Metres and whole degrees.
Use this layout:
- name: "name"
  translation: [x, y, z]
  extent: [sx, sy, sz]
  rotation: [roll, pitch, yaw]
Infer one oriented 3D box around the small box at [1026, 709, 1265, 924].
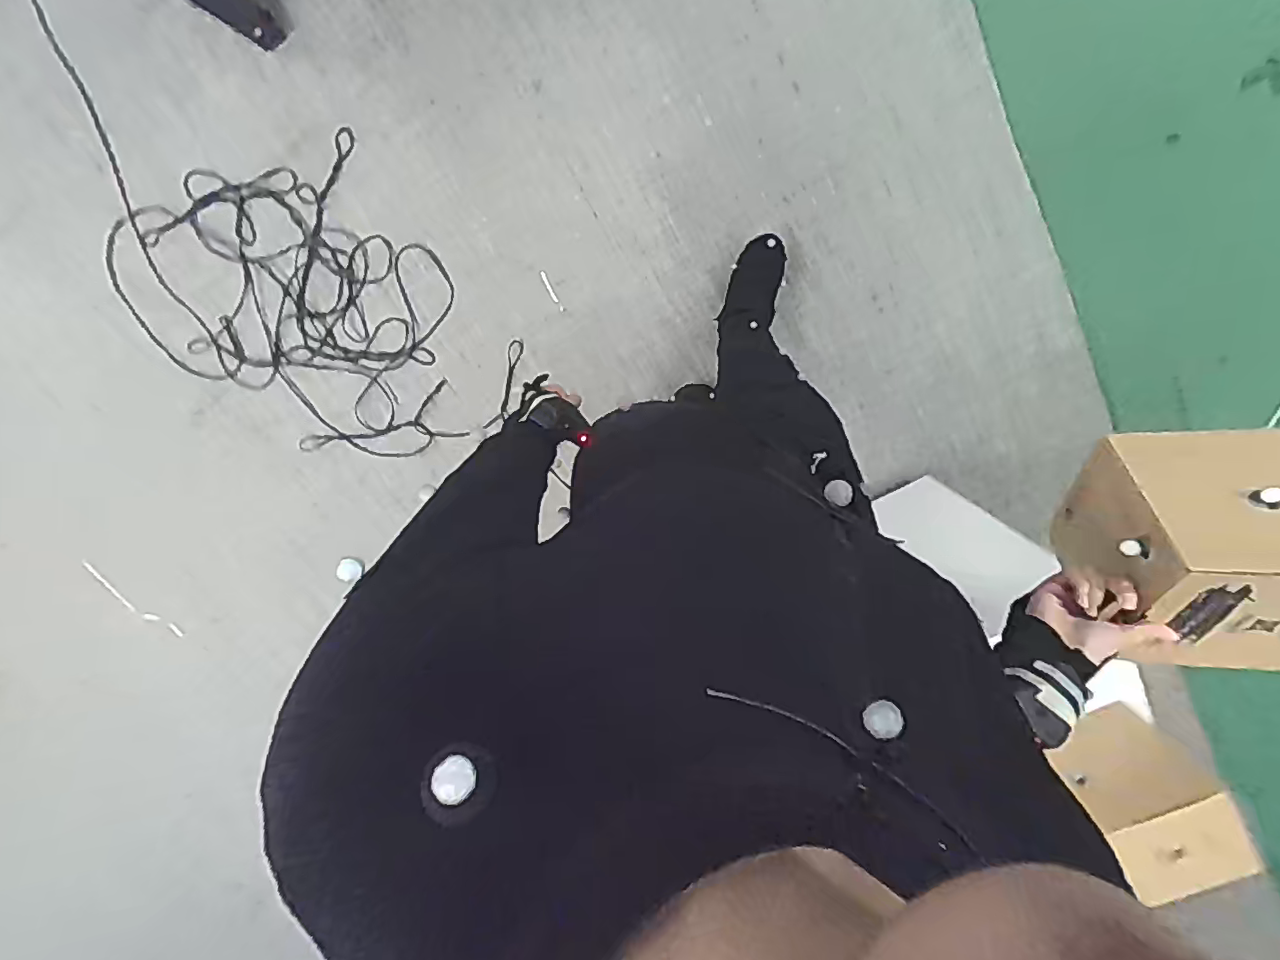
- name: "small box"
  translation: [0.703, 0.473, 0.778]
  extent: [0.179, 0.176, 0.168]
  rotation: [-32, 104, 11]
